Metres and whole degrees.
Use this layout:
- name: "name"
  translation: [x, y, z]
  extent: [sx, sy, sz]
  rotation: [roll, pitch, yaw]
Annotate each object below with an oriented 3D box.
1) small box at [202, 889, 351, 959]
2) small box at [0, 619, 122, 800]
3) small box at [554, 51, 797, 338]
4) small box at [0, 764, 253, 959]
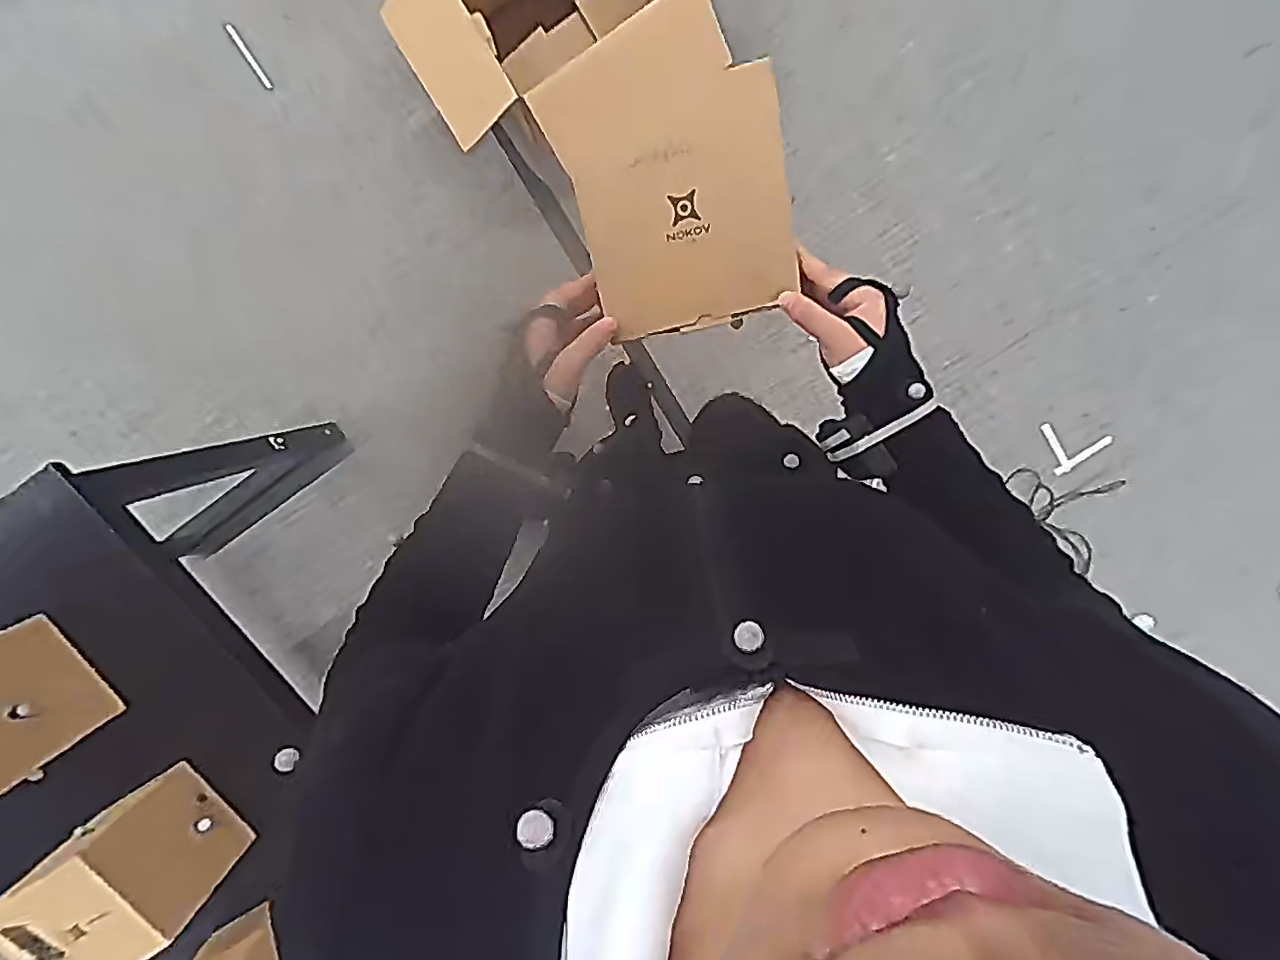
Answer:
- name: "small box"
  translation: [-0.570, 0.771, 0.808]
  extent: [0.179, 0.176, 0.168]
  rotation: [-33, 100, 5]
- name: "small box"
  translation: [-0.858, 0.318, 0.706]
  extent: [0.168, 0.176, 0.179]
  rotation: [-30, 102, 5]
- name: "small box"
  translation: [0.035, -0.243, 0.502]
  extent: [0.168, 0.176, 0.179]
  rotation: [-13, 107, 5]
- name: "small box"
  translation: [-0.707, 0.549, 0.759]
  extent: [0.179, 0.176, 0.168]
  rotation: [-33, 101, 5]
